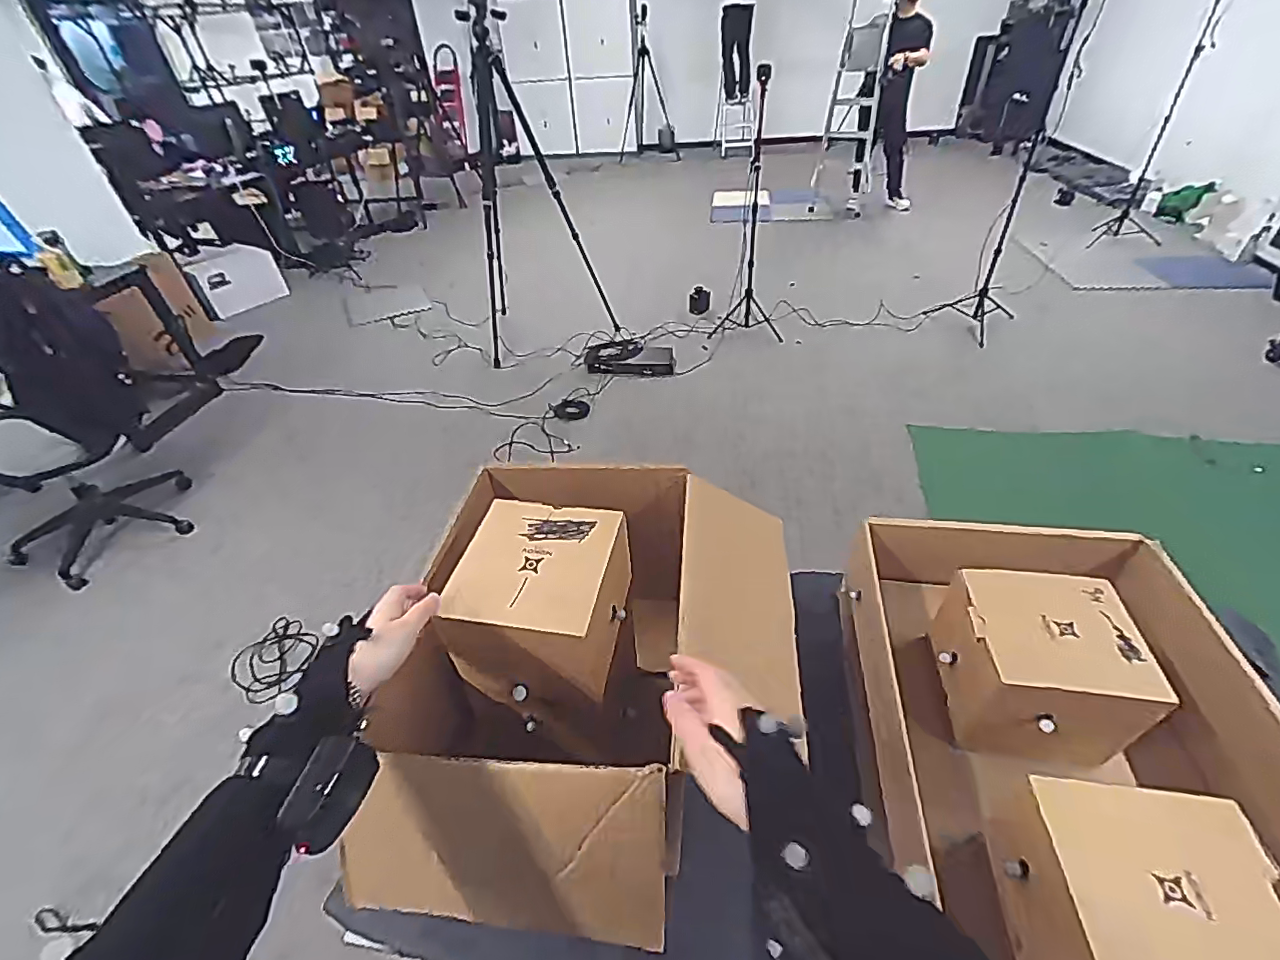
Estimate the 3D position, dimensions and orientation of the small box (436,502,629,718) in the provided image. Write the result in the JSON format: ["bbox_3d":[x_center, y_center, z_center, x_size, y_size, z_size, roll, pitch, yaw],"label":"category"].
[{"bbox_3d":[-0.110,0.152,0.647,0.168,0.176,0.179,5,43,10],"label":"small box"}]
